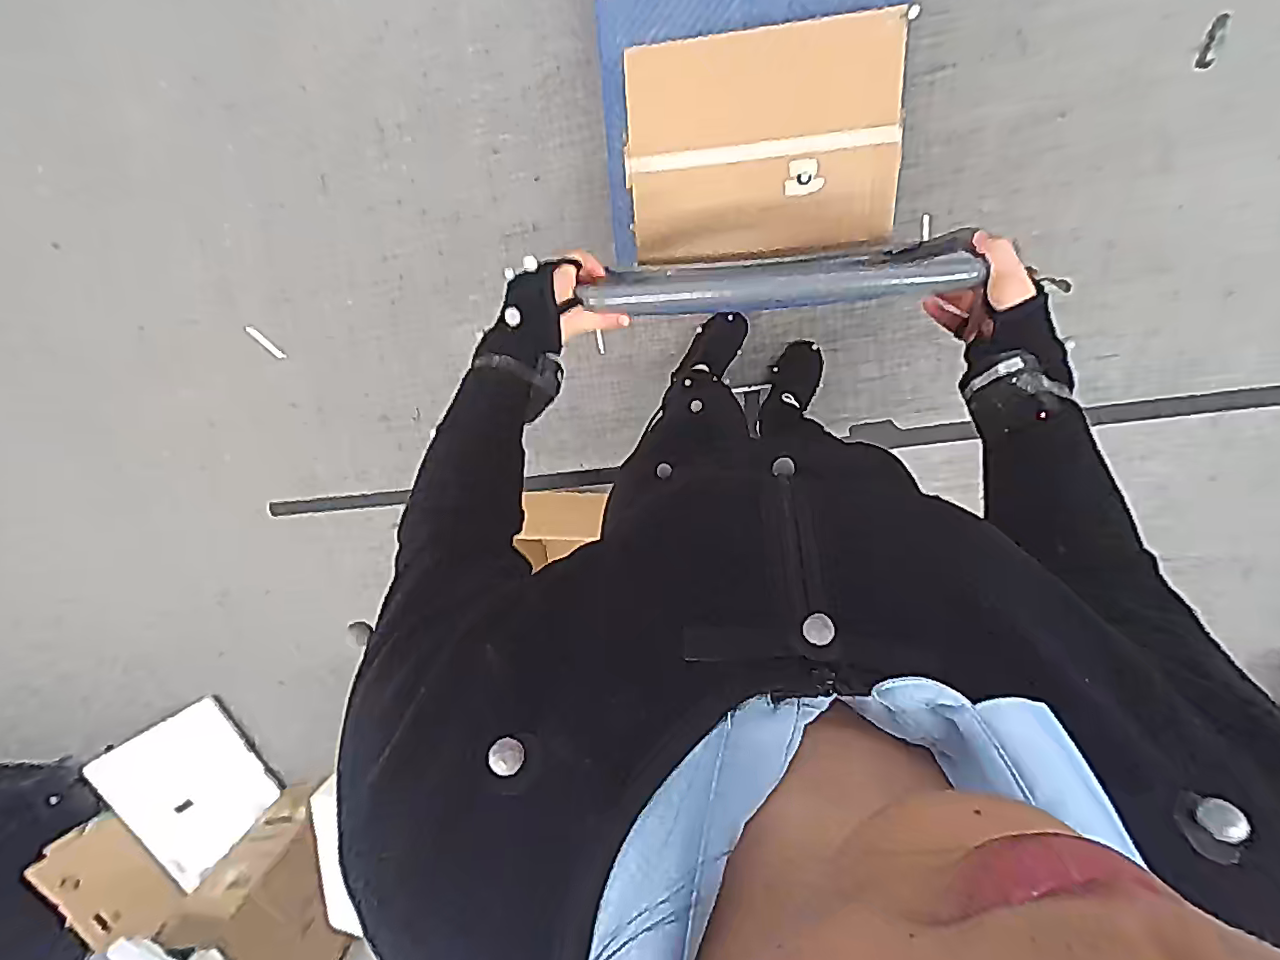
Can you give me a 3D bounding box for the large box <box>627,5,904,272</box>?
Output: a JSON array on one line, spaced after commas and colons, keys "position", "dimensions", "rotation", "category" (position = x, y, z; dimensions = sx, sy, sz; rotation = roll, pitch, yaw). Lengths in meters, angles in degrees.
[{"position": [0.209, -0.562, 0.975], "dimensions": [0.408, 0.320, 0.320], "rotation": [-1, 110, 10], "category": "large box"}]
